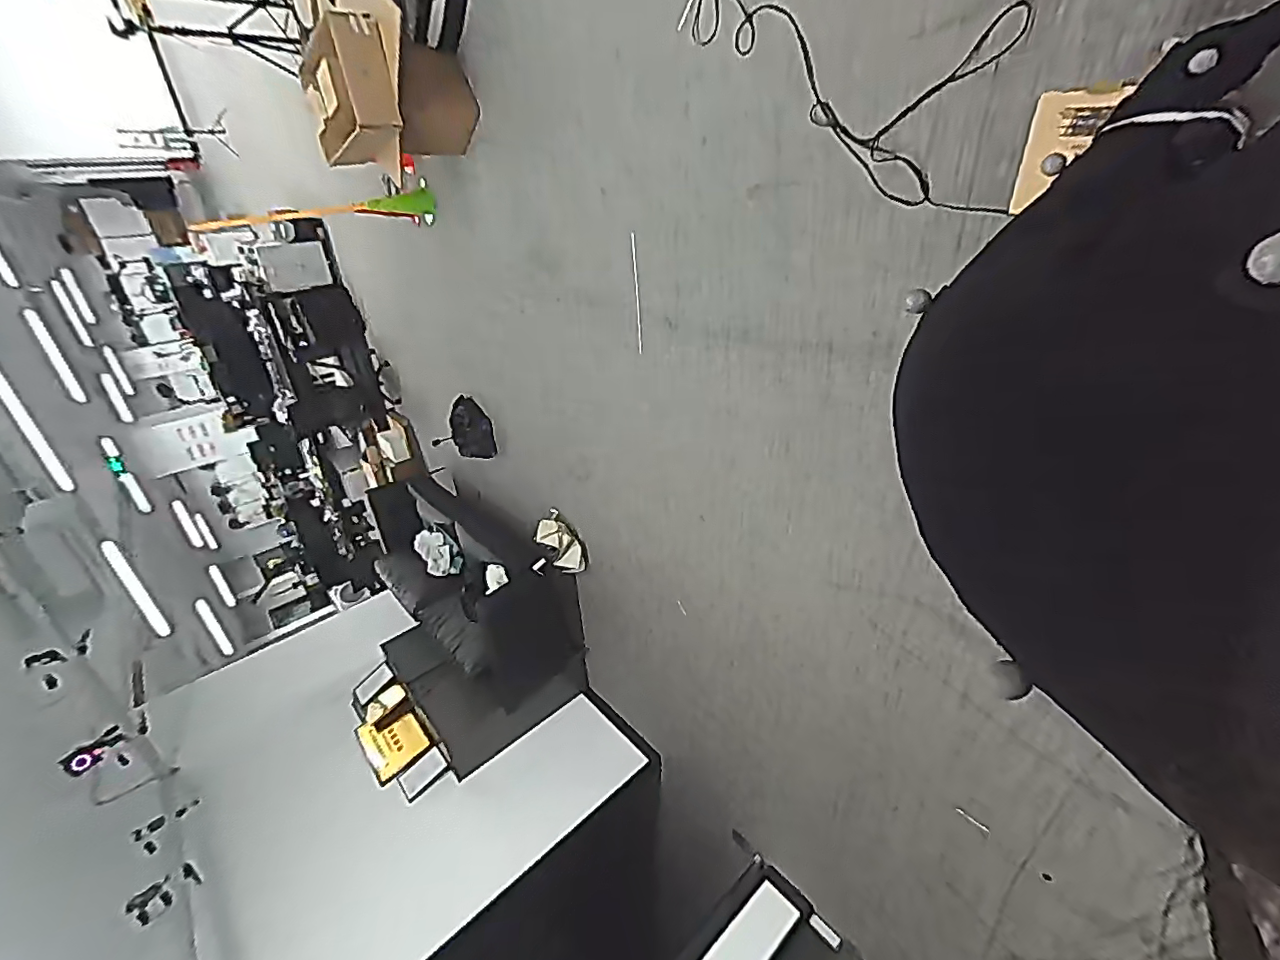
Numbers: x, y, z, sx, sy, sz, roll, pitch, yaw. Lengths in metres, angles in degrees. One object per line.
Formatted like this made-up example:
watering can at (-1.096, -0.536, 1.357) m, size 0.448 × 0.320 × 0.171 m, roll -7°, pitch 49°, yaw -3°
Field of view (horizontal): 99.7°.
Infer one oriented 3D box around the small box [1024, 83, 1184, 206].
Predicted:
small box at (0.854, -0.614, 0.997) m, size 0.168 × 0.176 × 0.179 m, roll 29°, pitch 134°, yaw 40°
